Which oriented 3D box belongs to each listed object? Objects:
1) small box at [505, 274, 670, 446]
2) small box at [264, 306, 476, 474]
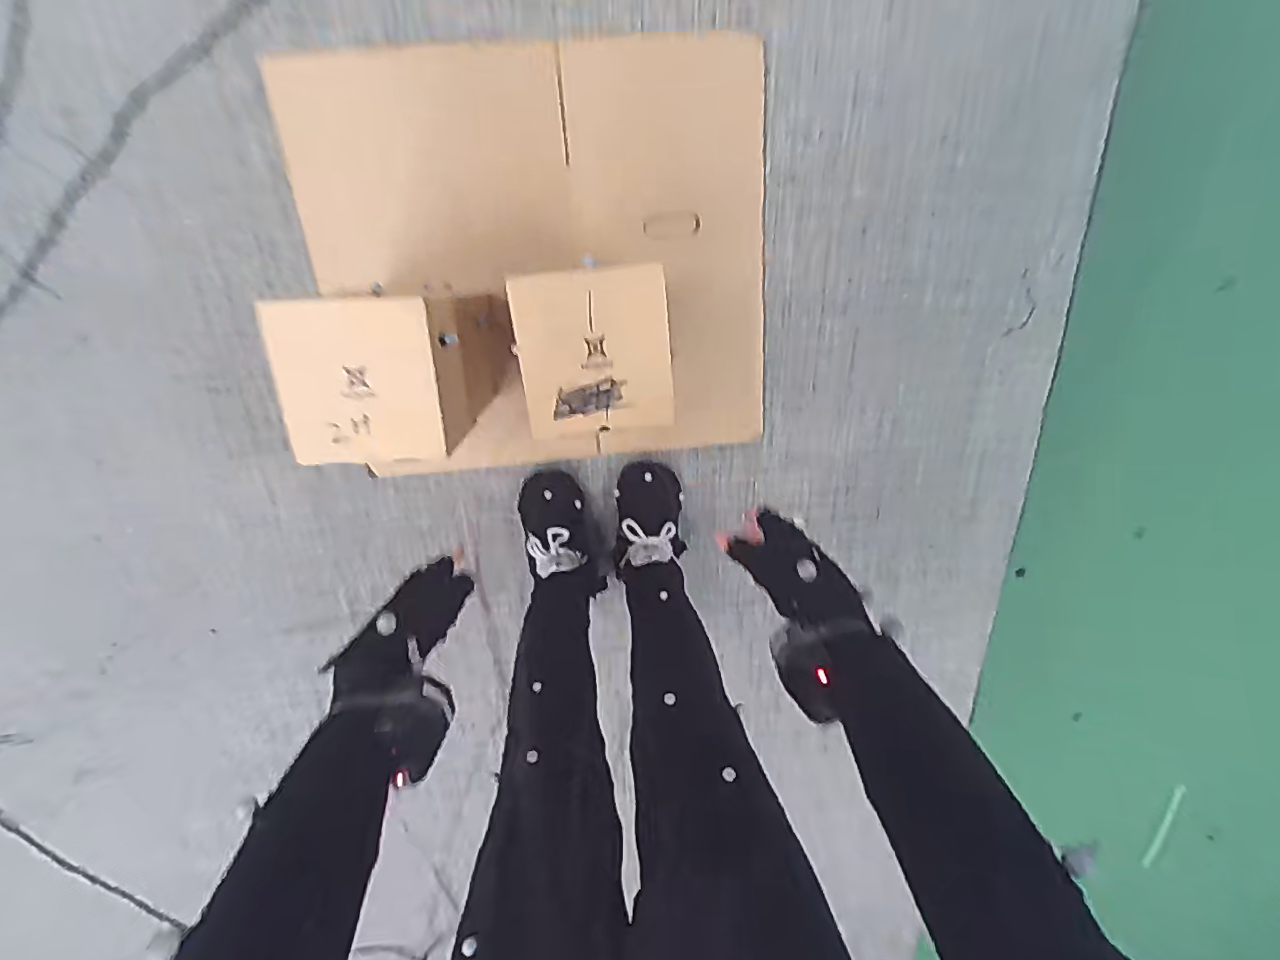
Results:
[{"bbox_3d":[-0.059,-0.155,0.667,0.168,0.176,0.179,-8,110,-4],"label":"small box"},{"bbox_3d":[-0.305,-0.118,0.652,0.168,0.176,0.179,-3,110,-4],"label":"small box"}]
